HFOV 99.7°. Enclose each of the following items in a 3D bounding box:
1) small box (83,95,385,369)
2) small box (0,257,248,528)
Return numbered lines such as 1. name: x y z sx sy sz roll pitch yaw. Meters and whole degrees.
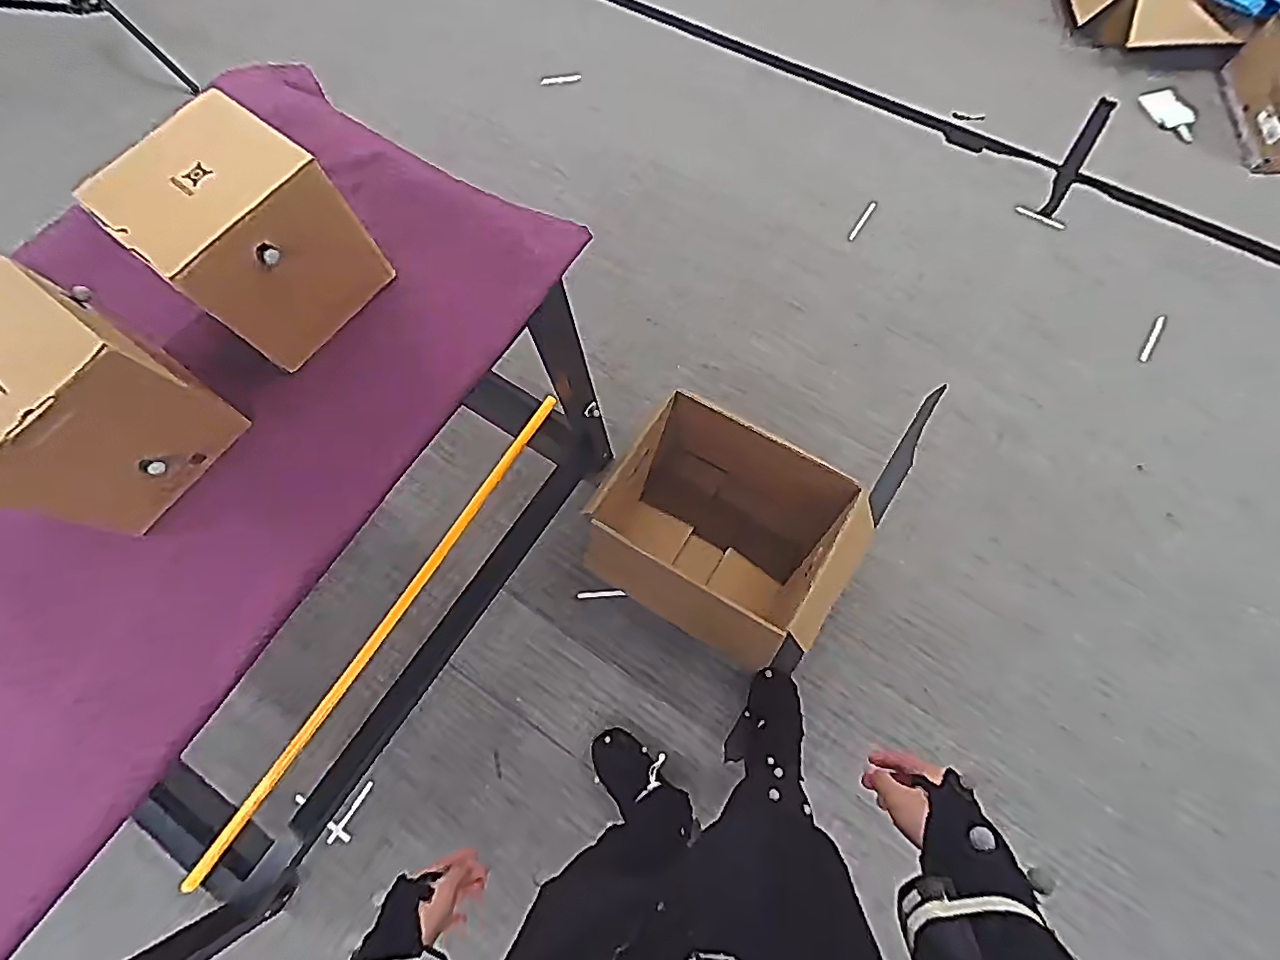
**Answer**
1. small box: -0.415 -0.260 0.593 0.168 0.176 0.179 37 78 14
2. small box: -0.557 -0.073 0.537 0.179 0.176 0.168 35 77 13
